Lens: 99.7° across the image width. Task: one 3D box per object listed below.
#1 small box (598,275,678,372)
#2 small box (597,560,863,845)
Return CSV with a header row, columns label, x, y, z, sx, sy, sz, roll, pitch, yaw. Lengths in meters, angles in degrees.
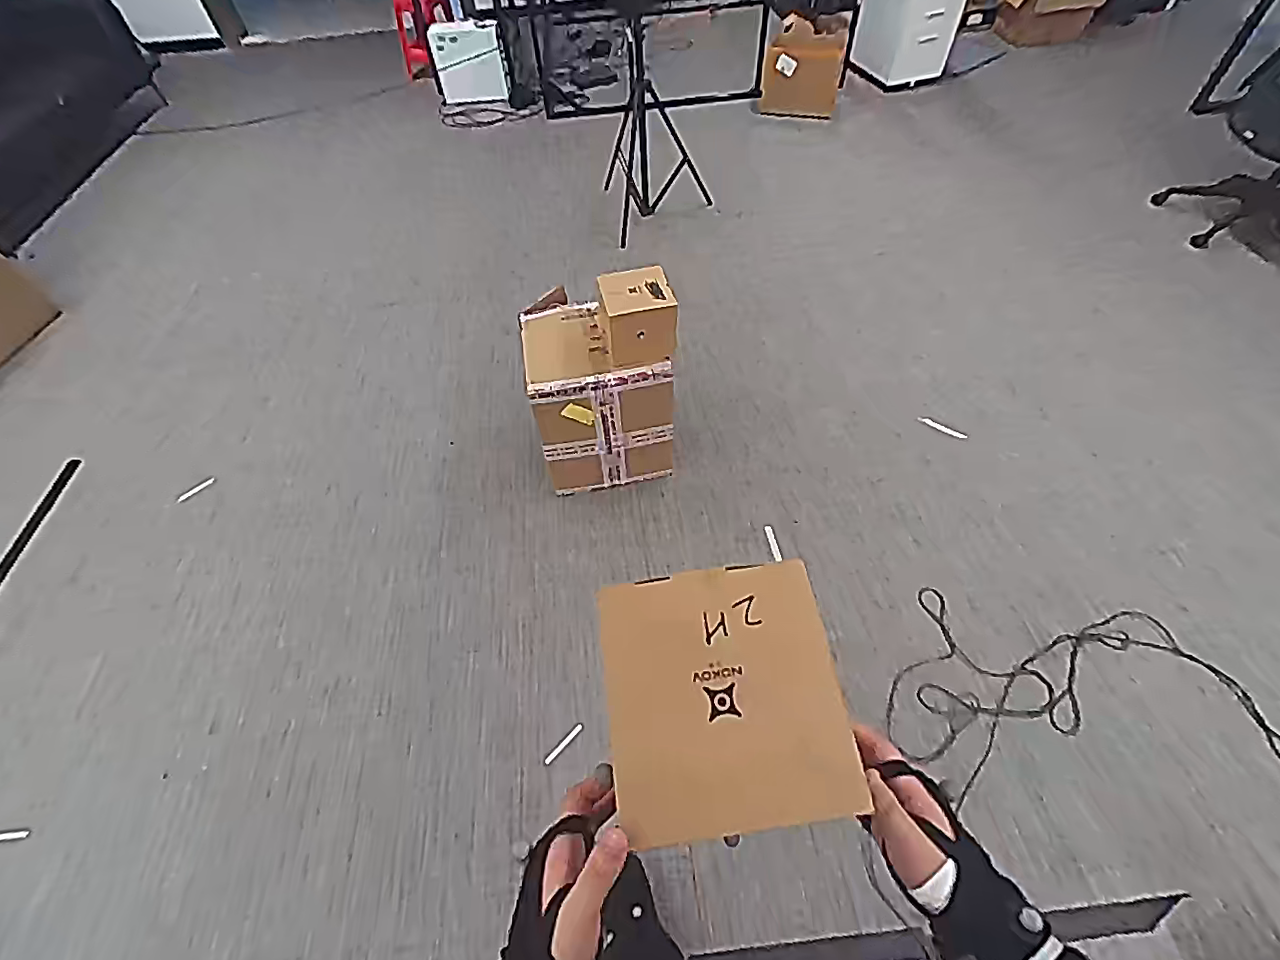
label,x,y,z,sx,sy,sz,roll,pitch,yaw
small box,-0.008,-0.410,1.427,0.179,0.176,0.168,-12,56,-6
small box,0.061,0.187,0.459,0.168,0.176,0.179,-8,61,-1
